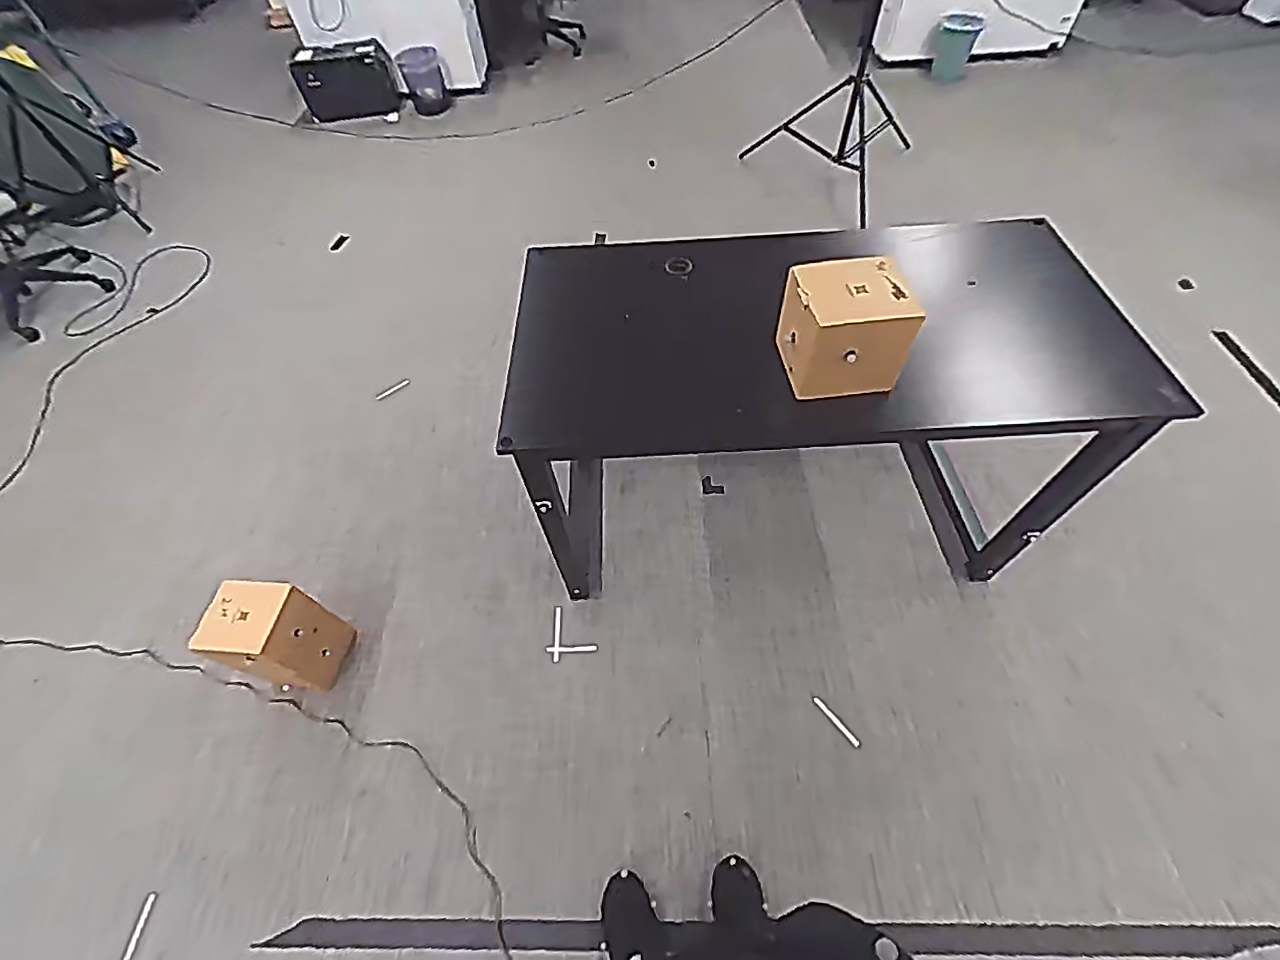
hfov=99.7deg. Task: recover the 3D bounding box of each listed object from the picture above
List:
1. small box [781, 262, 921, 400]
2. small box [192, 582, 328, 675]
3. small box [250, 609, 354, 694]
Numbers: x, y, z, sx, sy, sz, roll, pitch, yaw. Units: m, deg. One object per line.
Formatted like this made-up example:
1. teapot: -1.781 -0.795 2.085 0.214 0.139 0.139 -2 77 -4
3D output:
1. small box: 0.357 -0.259 0.962 0.179 0.176 0.168 -7 55 0
2. small box: -0.894 0.359 1.294 0.179 0.176 0.168 2 54 5
3. small box: -0.896 0.448 1.433 0.168 0.176 0.179 5 56 7
